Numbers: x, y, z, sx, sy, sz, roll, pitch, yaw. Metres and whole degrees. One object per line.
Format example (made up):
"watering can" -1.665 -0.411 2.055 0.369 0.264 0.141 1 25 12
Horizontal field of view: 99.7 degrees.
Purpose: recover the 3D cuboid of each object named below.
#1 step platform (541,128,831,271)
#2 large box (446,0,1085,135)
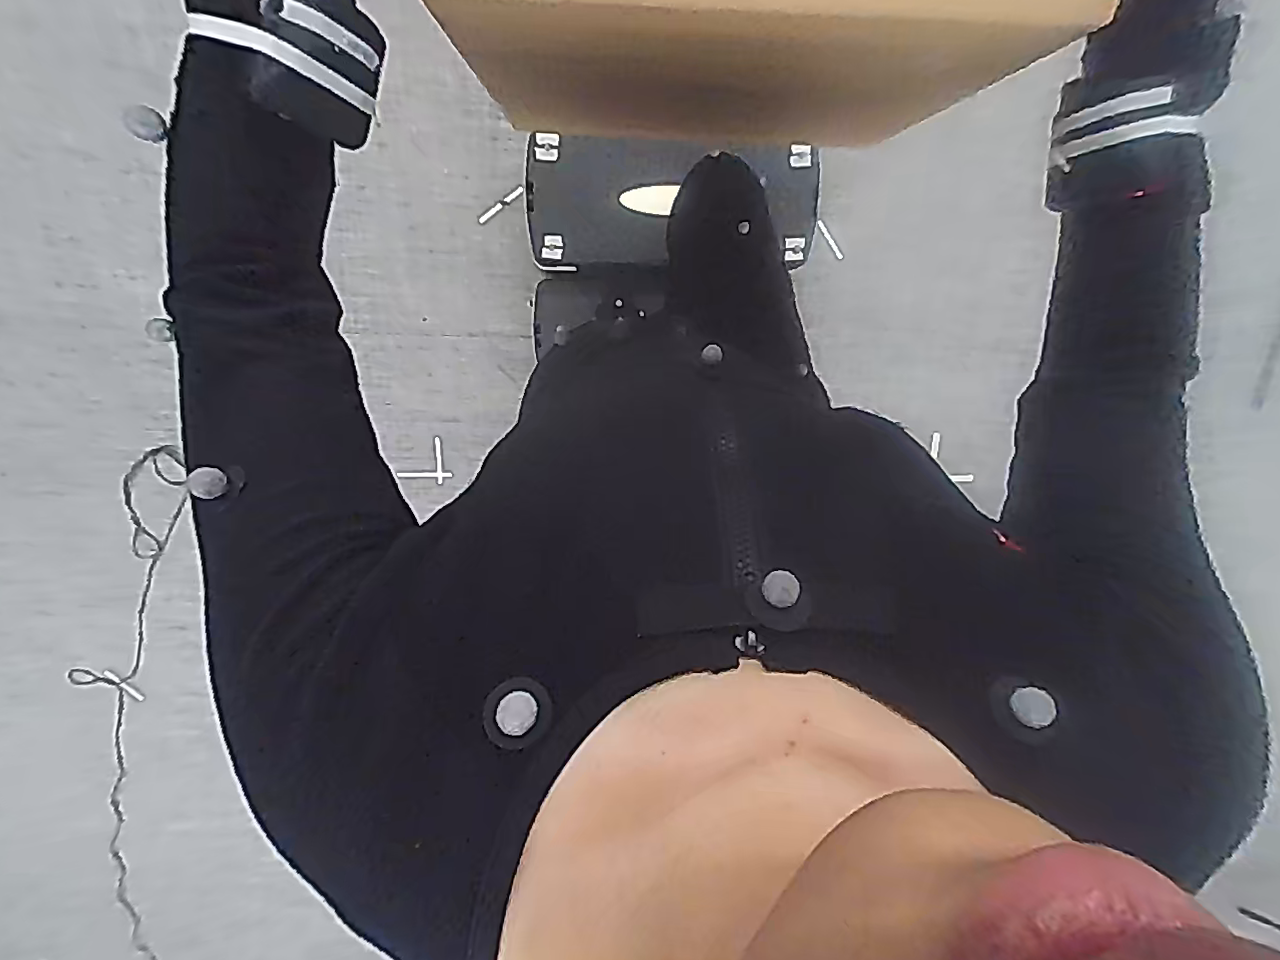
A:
"step platform" 0.105 -0.667 1.310 0.684 0.204 0.286 -1 107 -4
"large box" 0.069 -0.478 0.409 0.408 0.320 0.320 0 111 -3
